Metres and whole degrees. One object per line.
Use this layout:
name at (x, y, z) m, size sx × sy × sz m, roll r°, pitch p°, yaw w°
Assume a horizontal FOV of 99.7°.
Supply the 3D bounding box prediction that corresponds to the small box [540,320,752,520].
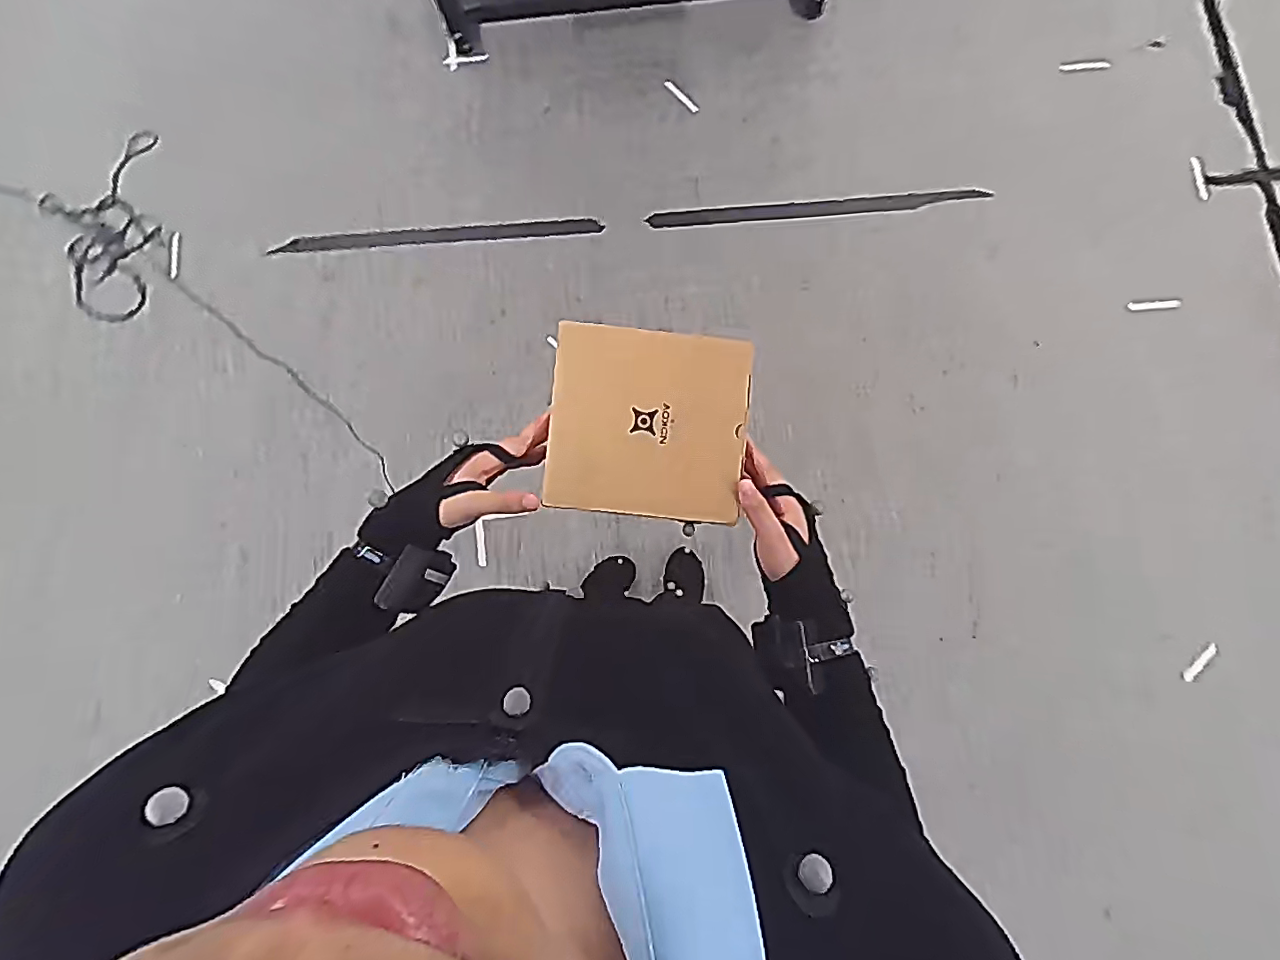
small box at (0.003, -0.049, 0.551) m, size 0.179 × 0.176 × 0.168 m, roll 5°, pitch 87°, yaw -3°
